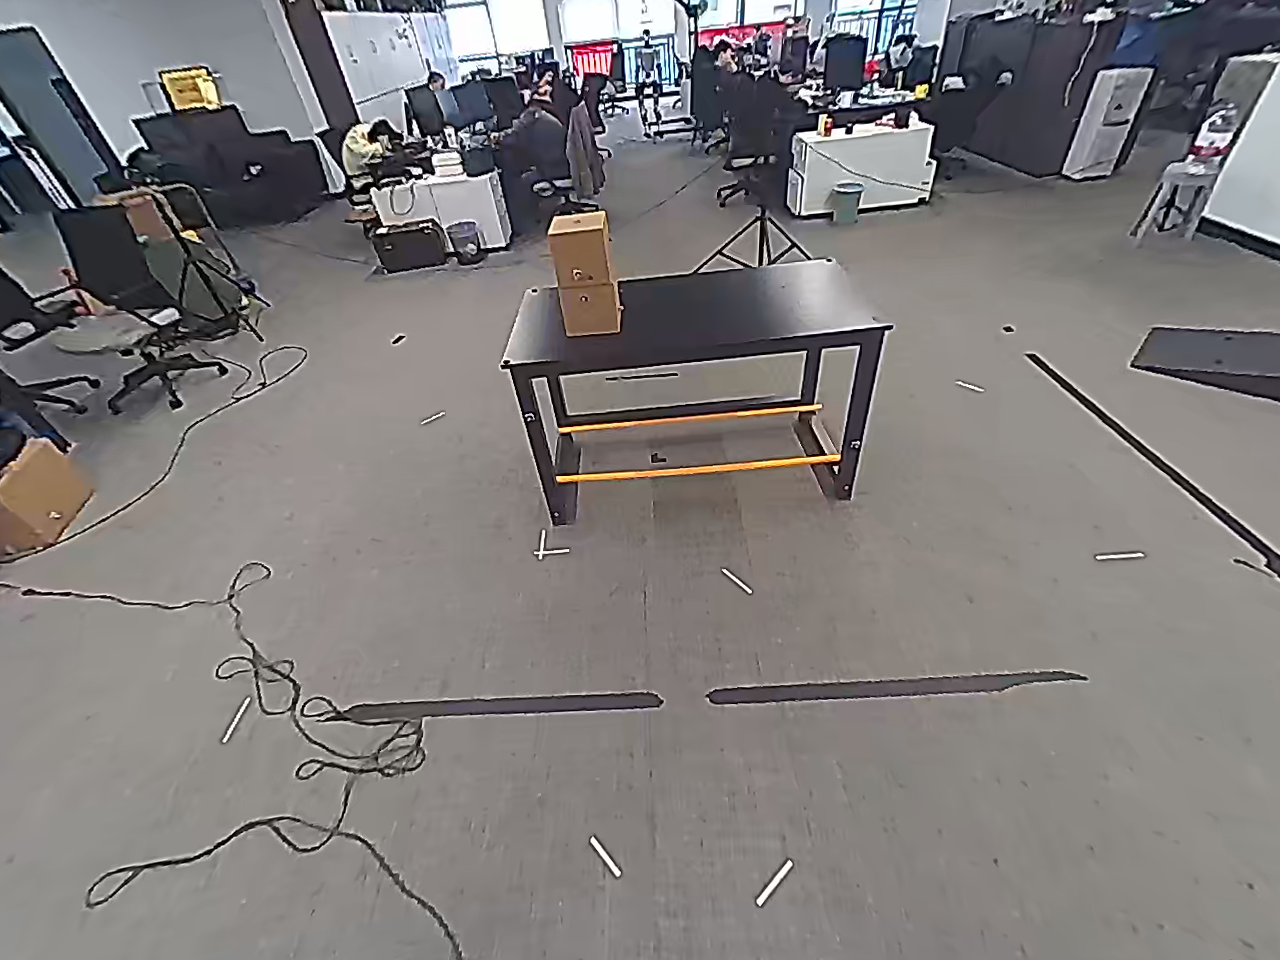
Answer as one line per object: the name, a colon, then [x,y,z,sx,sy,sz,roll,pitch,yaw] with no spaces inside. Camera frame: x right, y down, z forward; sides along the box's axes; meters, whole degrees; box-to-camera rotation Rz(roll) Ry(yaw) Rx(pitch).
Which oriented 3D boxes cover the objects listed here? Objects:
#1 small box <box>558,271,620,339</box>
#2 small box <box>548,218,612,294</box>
small box: [-0.165,-0.580,1.803,0.179,0.176,0.168,-4,40,3]
small box: [-0.183,-0.702,1.697,0.168,0.176,0.179,-6,41,4]
